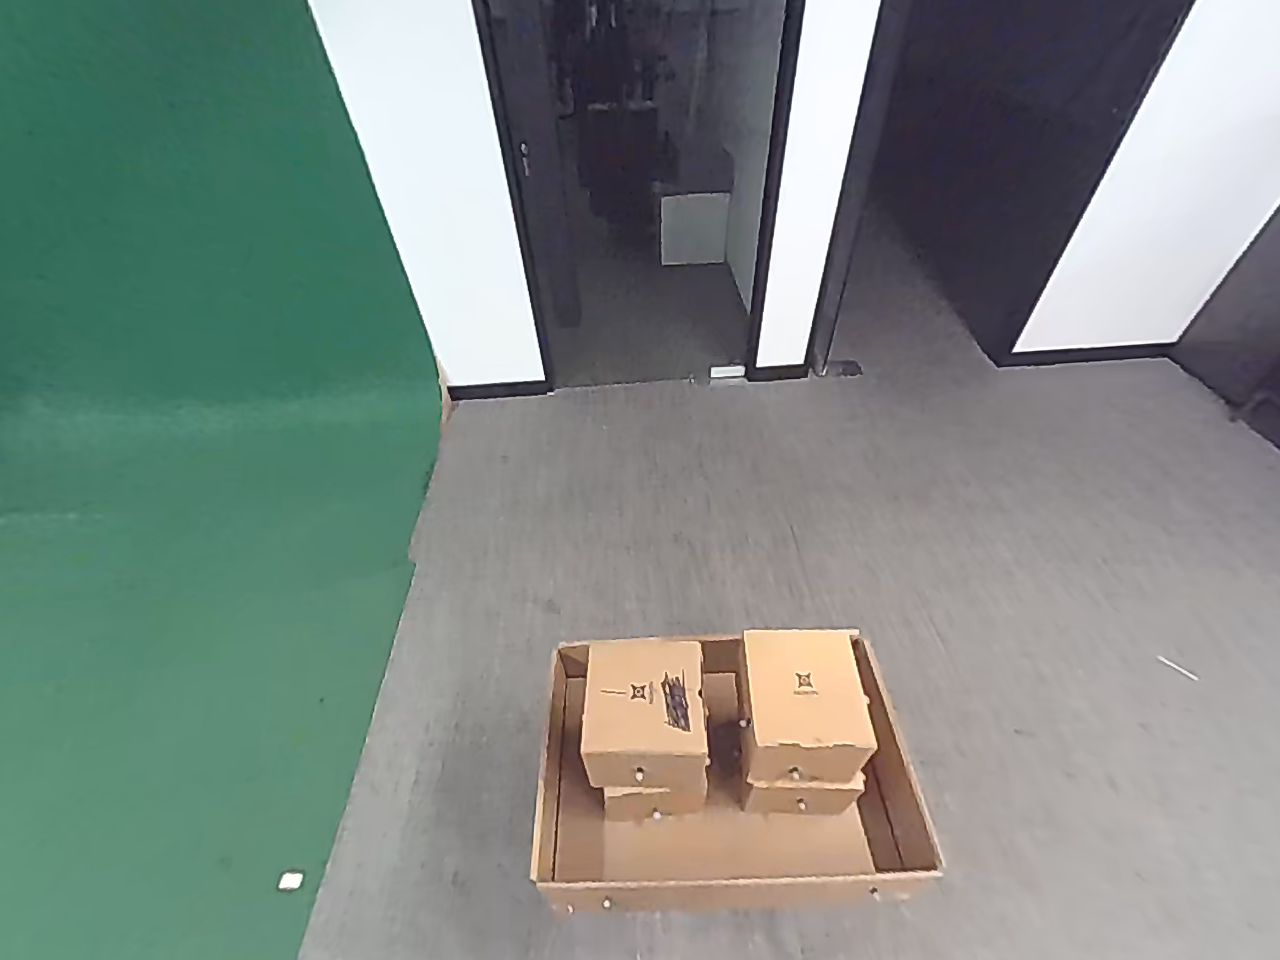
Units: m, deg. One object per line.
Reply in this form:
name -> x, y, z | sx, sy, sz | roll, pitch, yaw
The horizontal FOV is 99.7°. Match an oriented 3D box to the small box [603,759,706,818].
small box -> 0.019, 0.476, 0.962 | 0.168, 0.176, 0.179 | -5, 46, -2

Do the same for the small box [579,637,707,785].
small box -> 0.009, 0.362, 0.844 | 0.179, 0.176, 0.168 | 0, 45, 3

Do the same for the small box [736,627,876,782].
small box -> 0.245, 0.351, 0.849 | 0.168, 0.176, 0.179 | -1, 46, 3
